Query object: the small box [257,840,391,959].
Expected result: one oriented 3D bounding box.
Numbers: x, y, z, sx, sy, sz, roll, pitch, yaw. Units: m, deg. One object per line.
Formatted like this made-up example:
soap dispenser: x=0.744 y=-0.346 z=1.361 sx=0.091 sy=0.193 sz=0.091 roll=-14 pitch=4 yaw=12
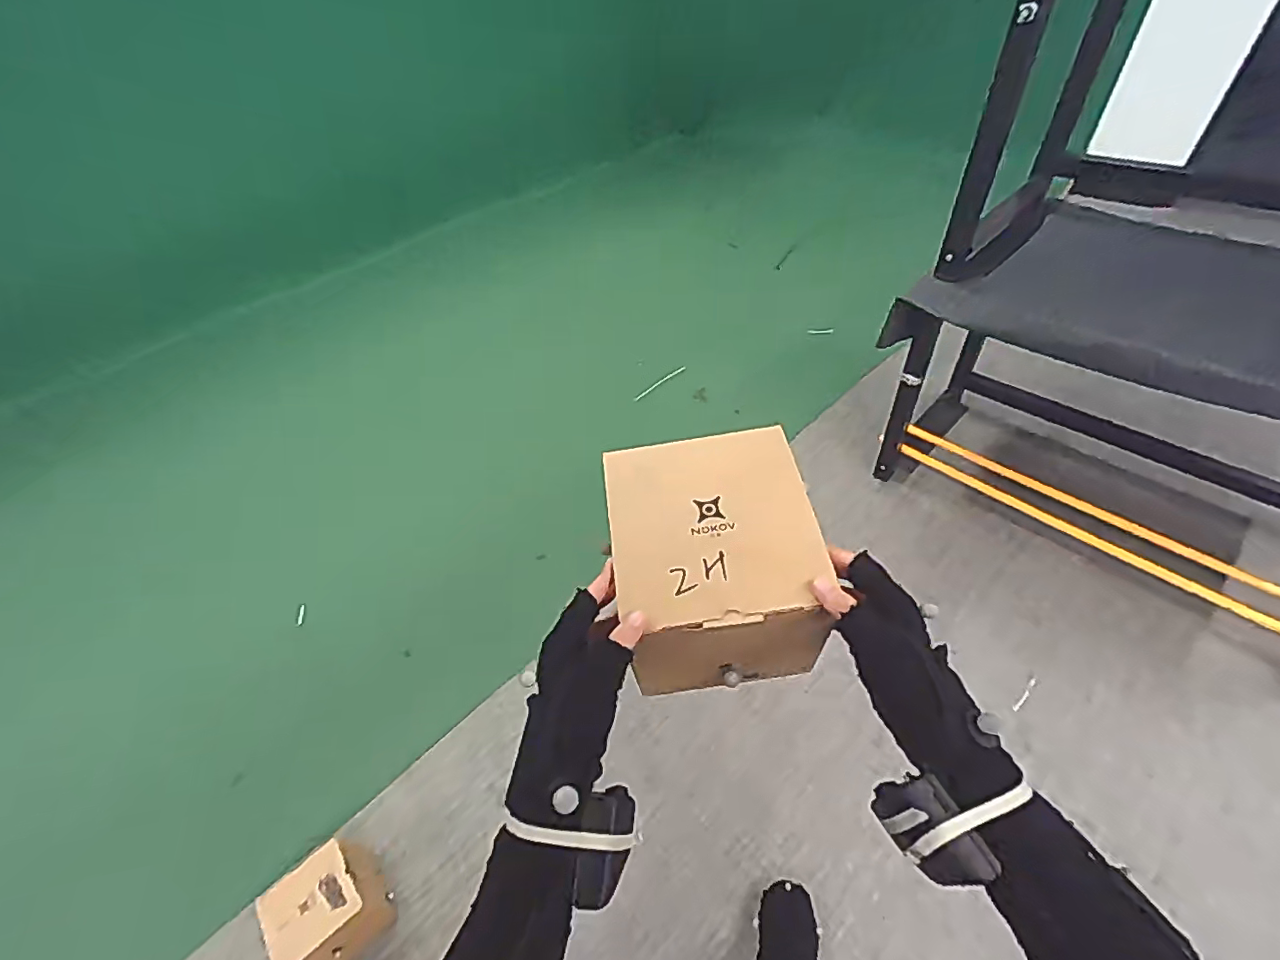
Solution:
small box: x=-0.661 y=0.919 z=1.152 sx=0.179 sy=0.176 sz=0.168 roll=-36 pitch=52 yaw=-23
